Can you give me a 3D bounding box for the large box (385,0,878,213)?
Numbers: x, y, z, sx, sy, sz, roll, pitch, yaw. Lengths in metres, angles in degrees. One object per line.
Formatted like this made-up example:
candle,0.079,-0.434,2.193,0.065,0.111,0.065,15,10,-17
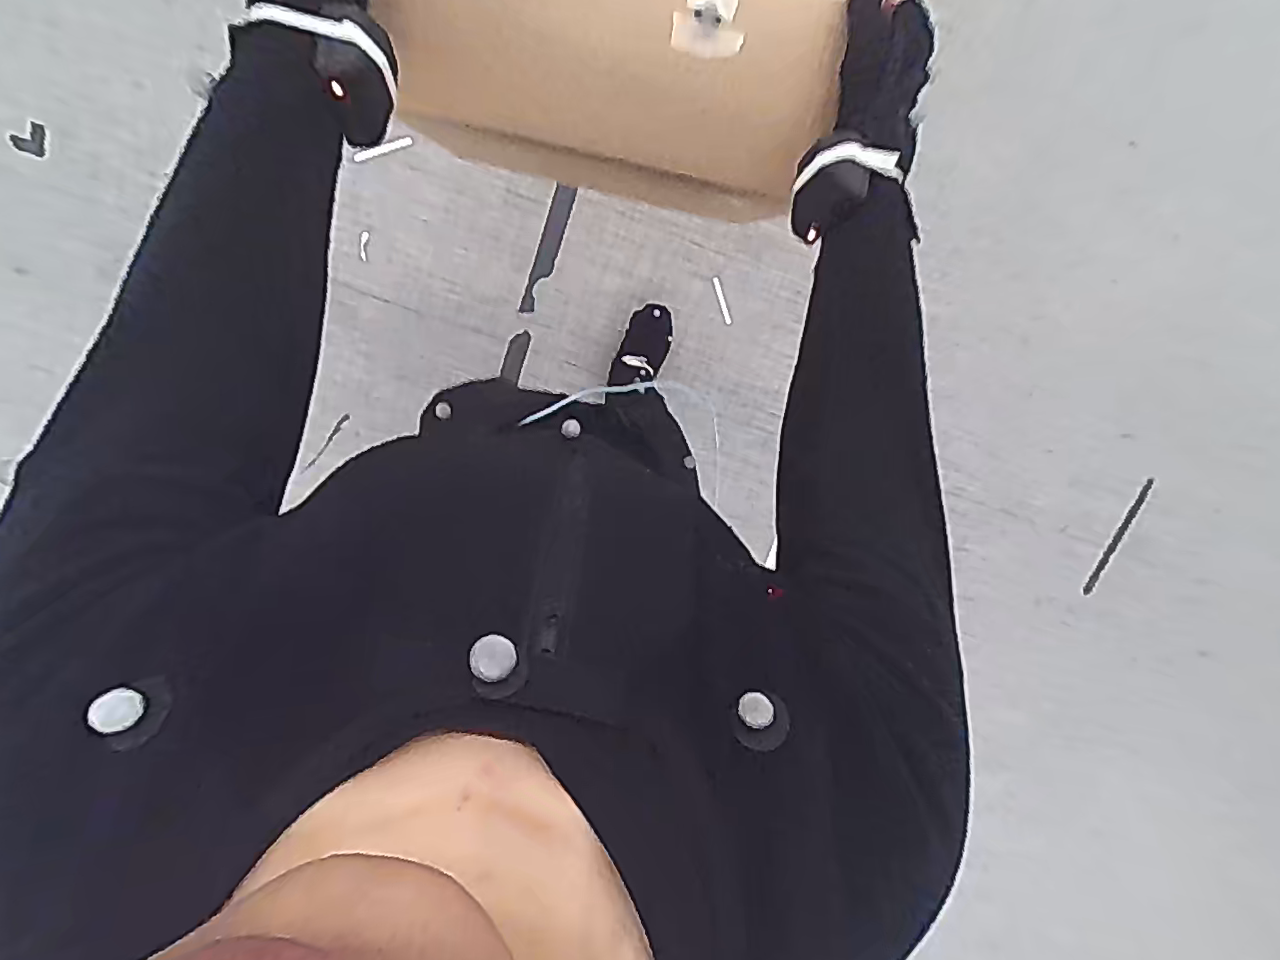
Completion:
large box,-0.007,-0.490,0.561,0.408,0.320,0.320,9,113,-9
